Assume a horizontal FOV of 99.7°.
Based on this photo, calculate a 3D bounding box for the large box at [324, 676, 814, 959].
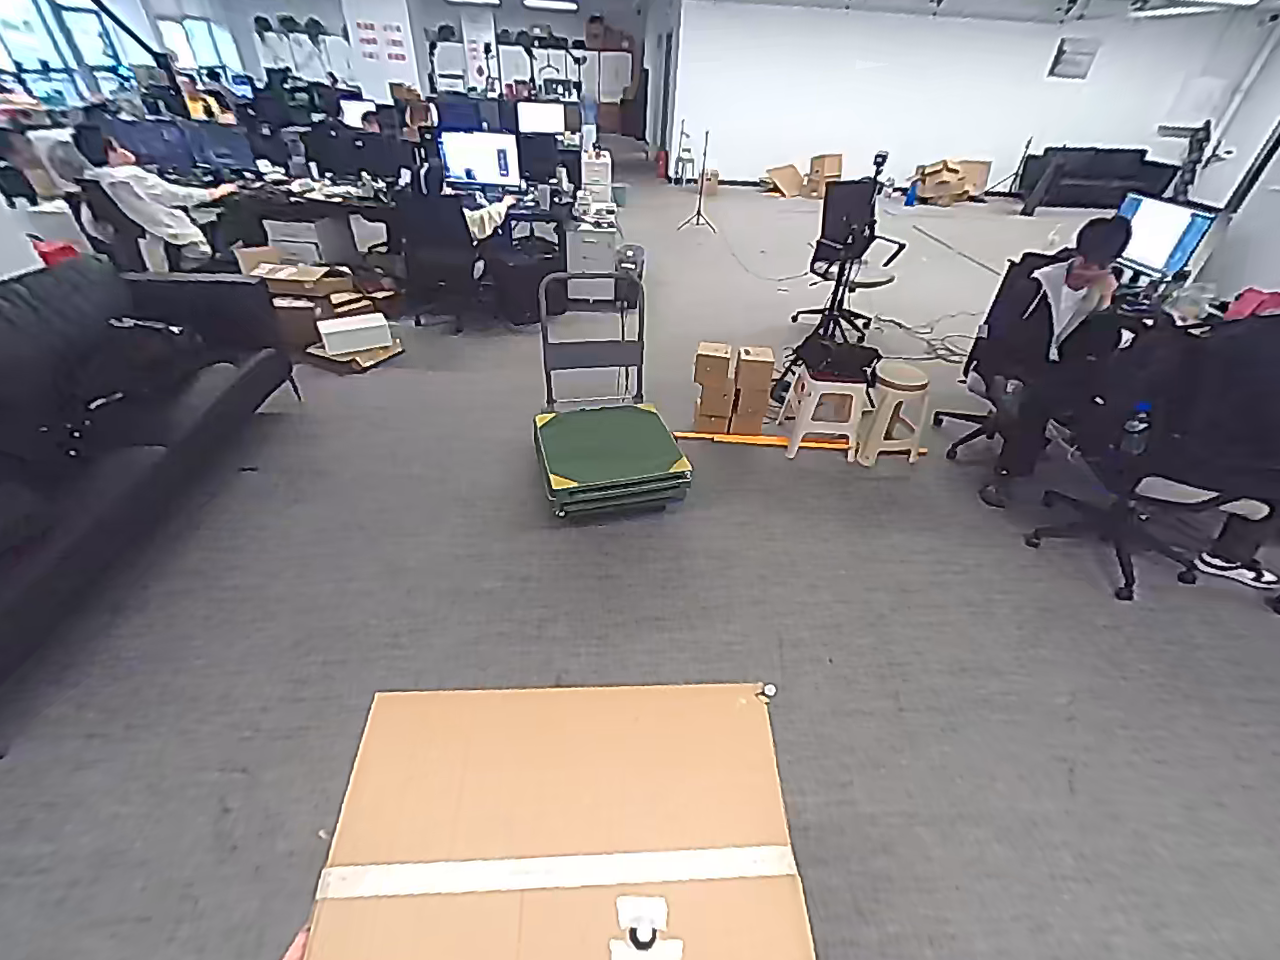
[{"bbox_3d":[-0.066,0.431,0.595,0.408,0.320,0.320,-1,51,-3],"label":"large box"}]
